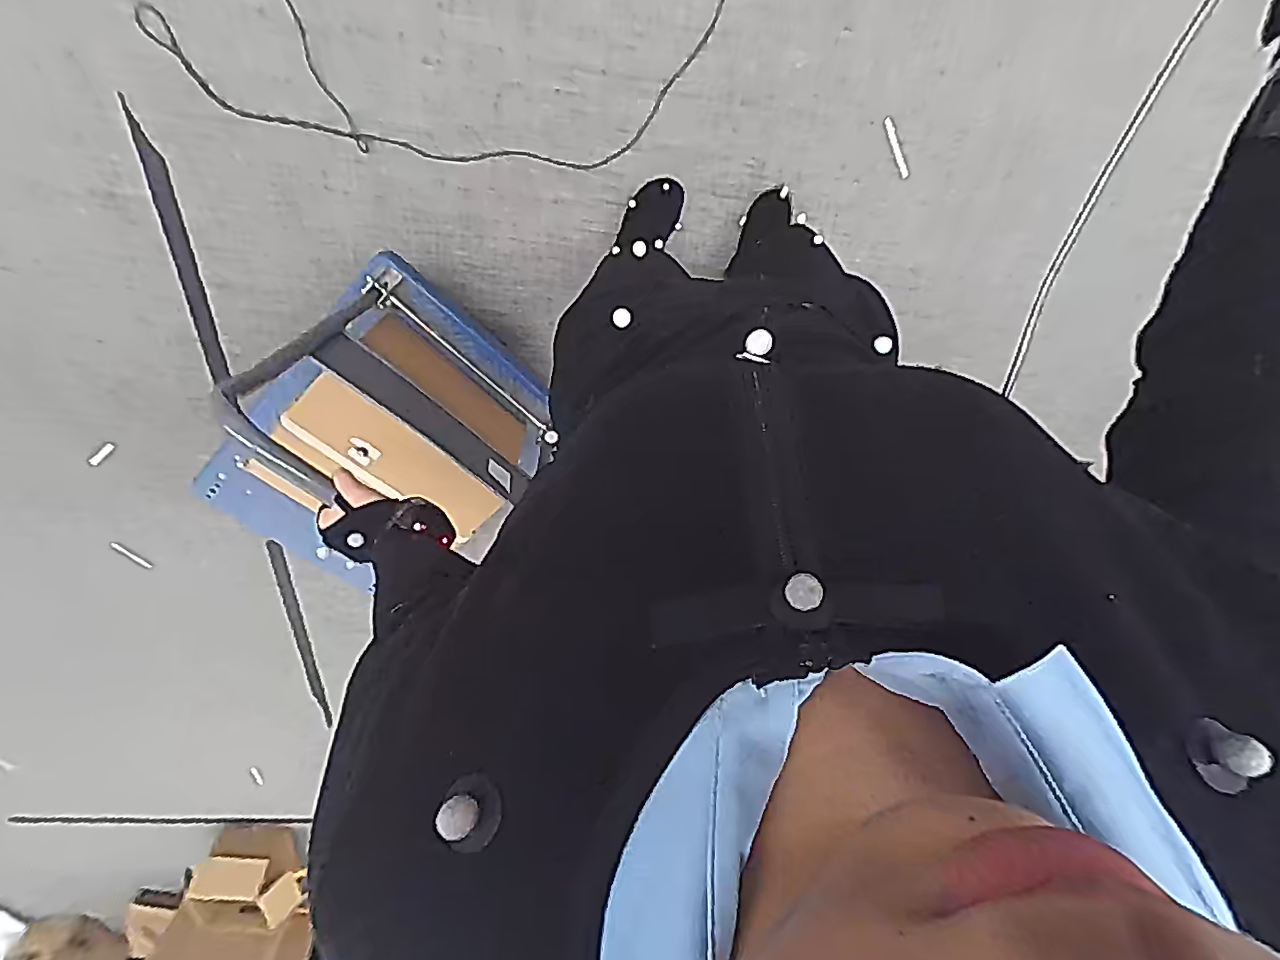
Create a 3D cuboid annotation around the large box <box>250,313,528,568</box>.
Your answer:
[{"bbox_3d":[-0.514,-0.086,1.196,0.320,0.320,0.408,-38,117,19],"label":"large box"}]
